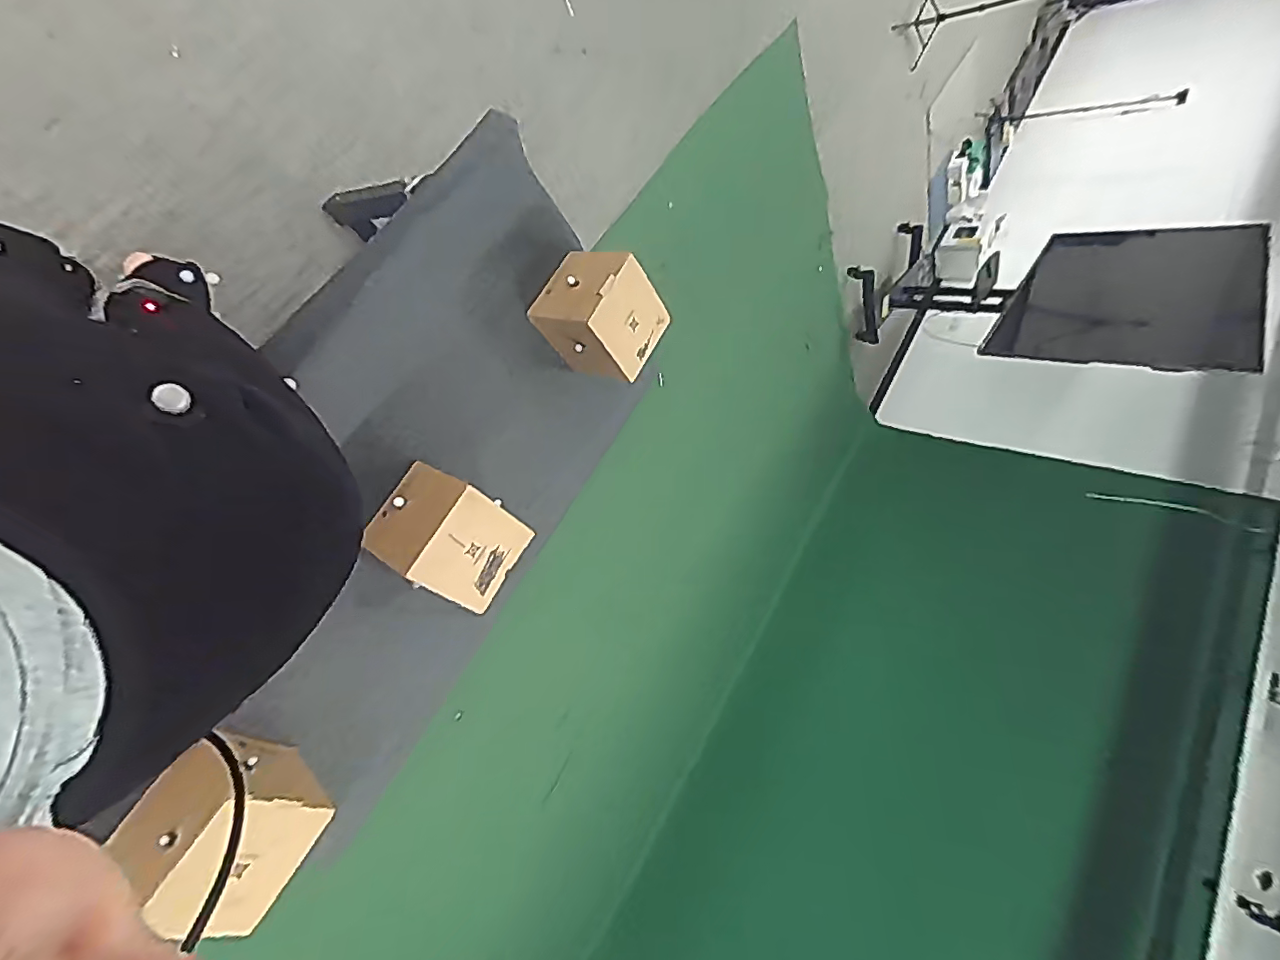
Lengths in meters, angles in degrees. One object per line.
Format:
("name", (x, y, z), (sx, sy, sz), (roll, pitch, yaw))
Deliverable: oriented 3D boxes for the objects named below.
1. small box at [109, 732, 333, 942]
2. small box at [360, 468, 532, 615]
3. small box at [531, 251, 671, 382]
("small box", (-0.585, 0.486, 0.755), (0.179, 0.176, 0.168), (-56, 138, -17))
("small box", (-0.325, 0.098, 0.913), (0.168, 0.176, 0.179), (-59, 140, -16))
("small box", (-0.076, -0.314, 1.047), (0.168, 0.176, 0.179), (-60, 140, -14))
